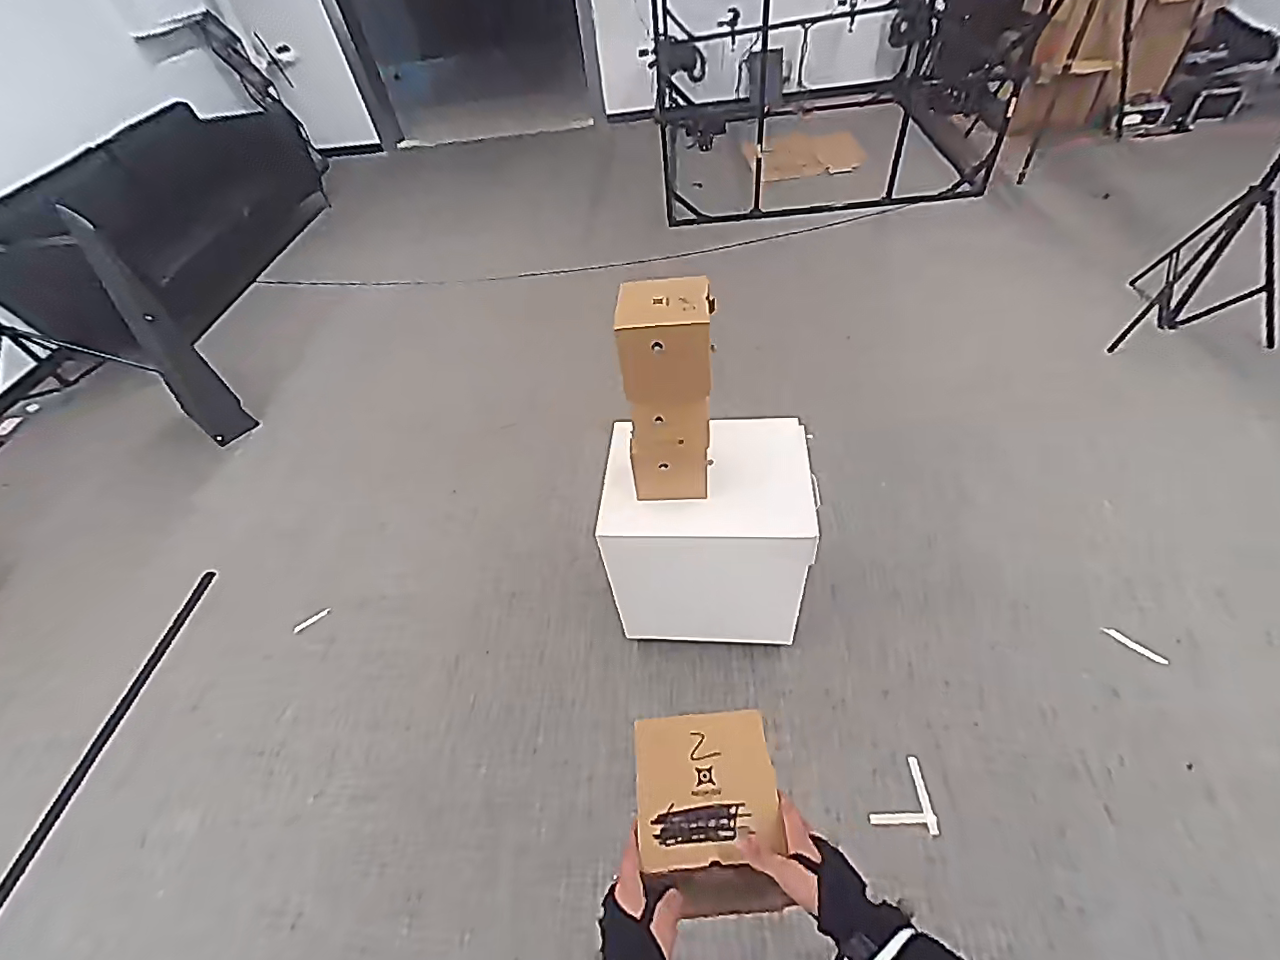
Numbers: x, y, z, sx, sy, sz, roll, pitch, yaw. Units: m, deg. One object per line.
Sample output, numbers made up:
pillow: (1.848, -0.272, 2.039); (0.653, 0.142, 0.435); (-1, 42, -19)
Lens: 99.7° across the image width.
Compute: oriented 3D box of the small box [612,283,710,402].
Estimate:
small box: (0.049, -0.269, 1.077); (0.179, 0.176, 0.168); (-2, 49, 7)

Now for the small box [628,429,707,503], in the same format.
small box: (0.072, -0.056, 1.325); (0.179, 0.176, 0.168); (-2, 49, 6)

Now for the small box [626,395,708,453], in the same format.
small box: (0.067, -0.173, 1.212); (0.168, 0.176, 0.179); (-1, 48, 7)
